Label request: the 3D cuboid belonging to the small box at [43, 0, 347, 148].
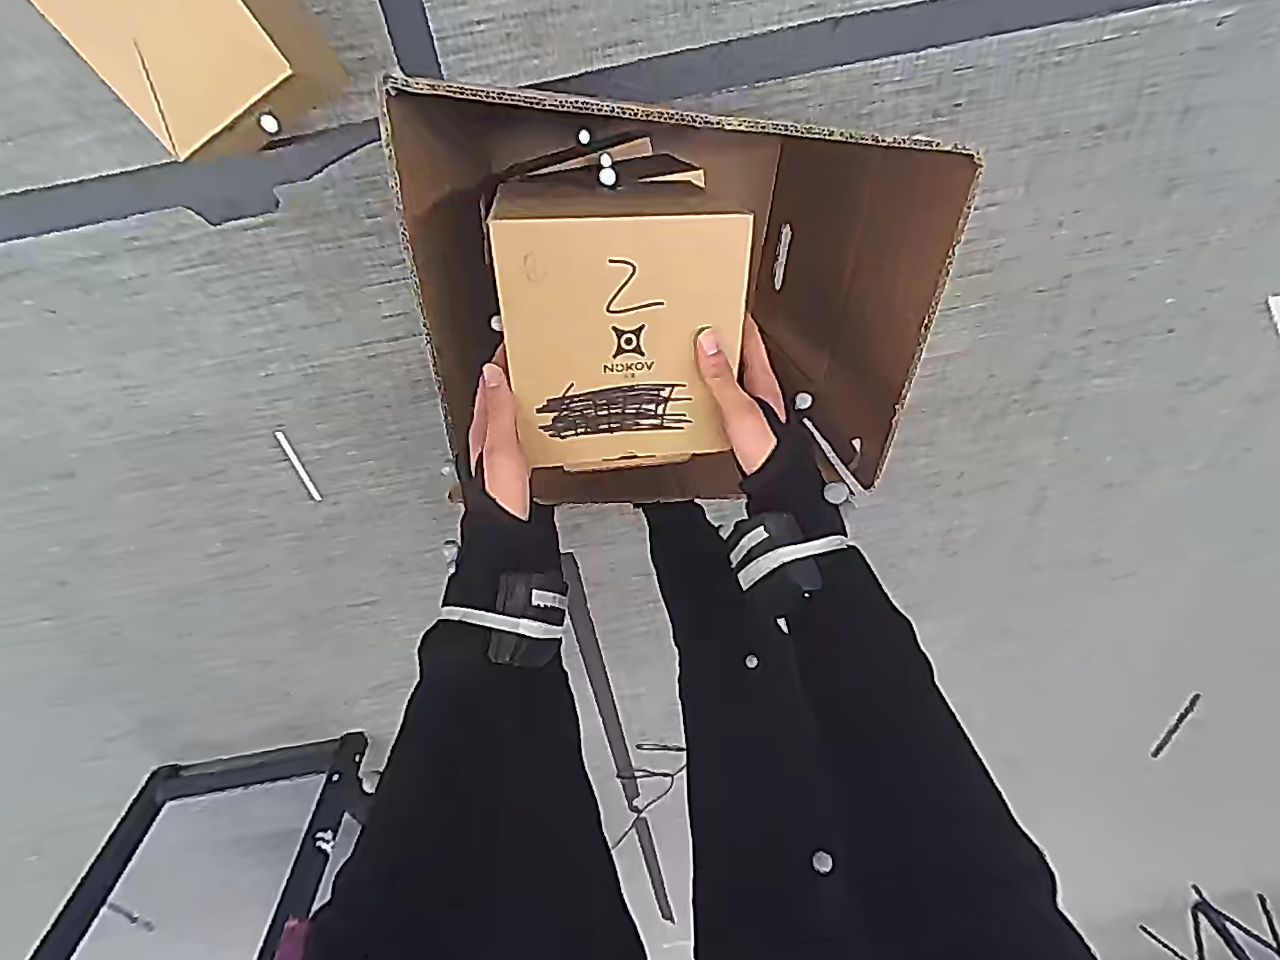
[{"bbox_3d":[-0.462,-0.485,0.571,0.168,0.176,0.179,-26,123,13],"label":"small box"}]
